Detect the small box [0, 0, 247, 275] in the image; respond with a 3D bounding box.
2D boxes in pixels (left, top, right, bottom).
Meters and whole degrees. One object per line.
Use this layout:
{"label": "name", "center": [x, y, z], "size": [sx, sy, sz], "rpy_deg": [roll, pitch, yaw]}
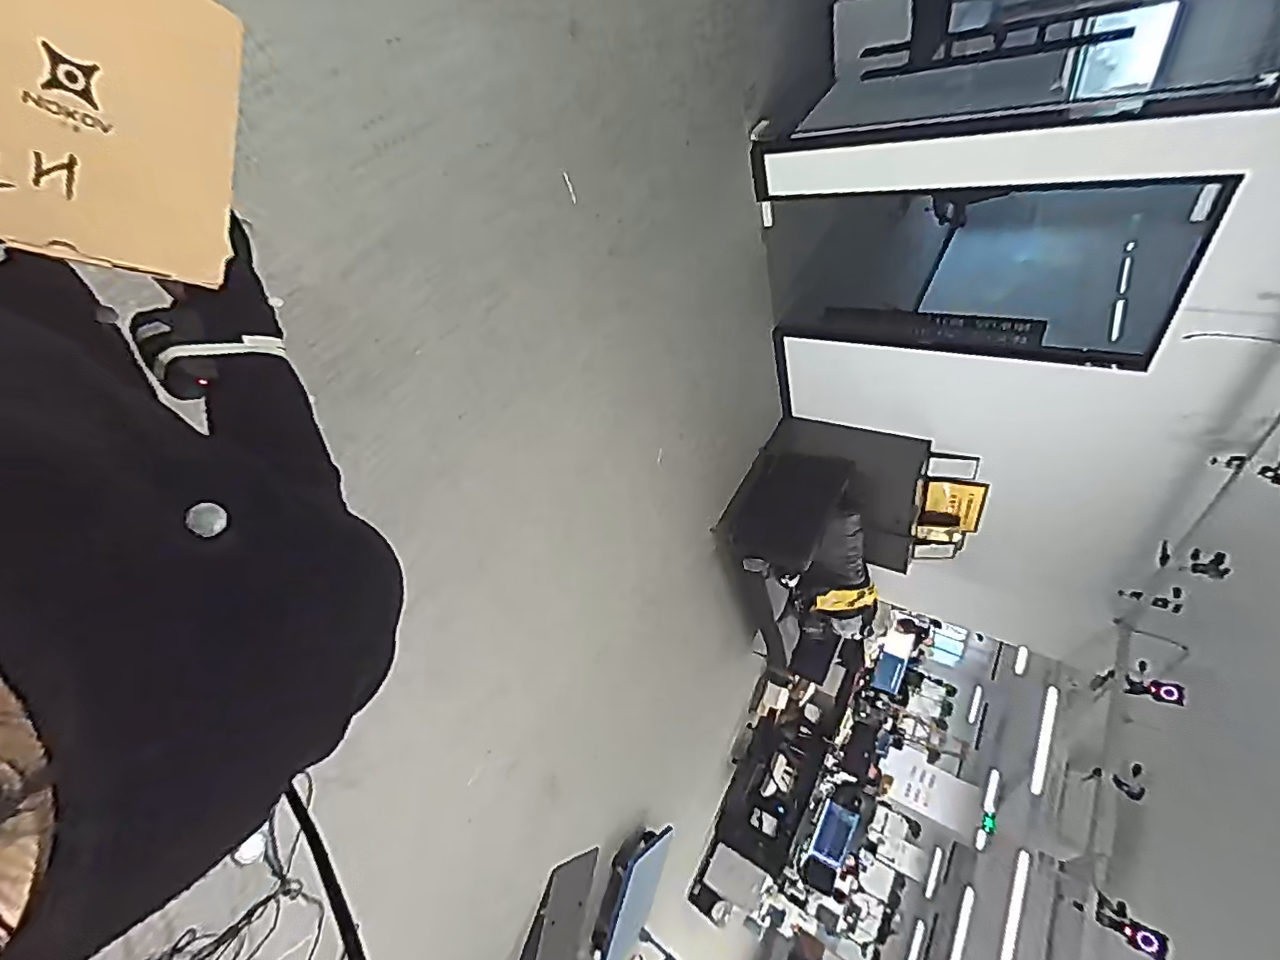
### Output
{"label": "small box", "center": [-0.377, -0.242, 0.319], "size": [0.168, 0.176, 0.179], "rpy_deg": [-11, 117, -66]}
